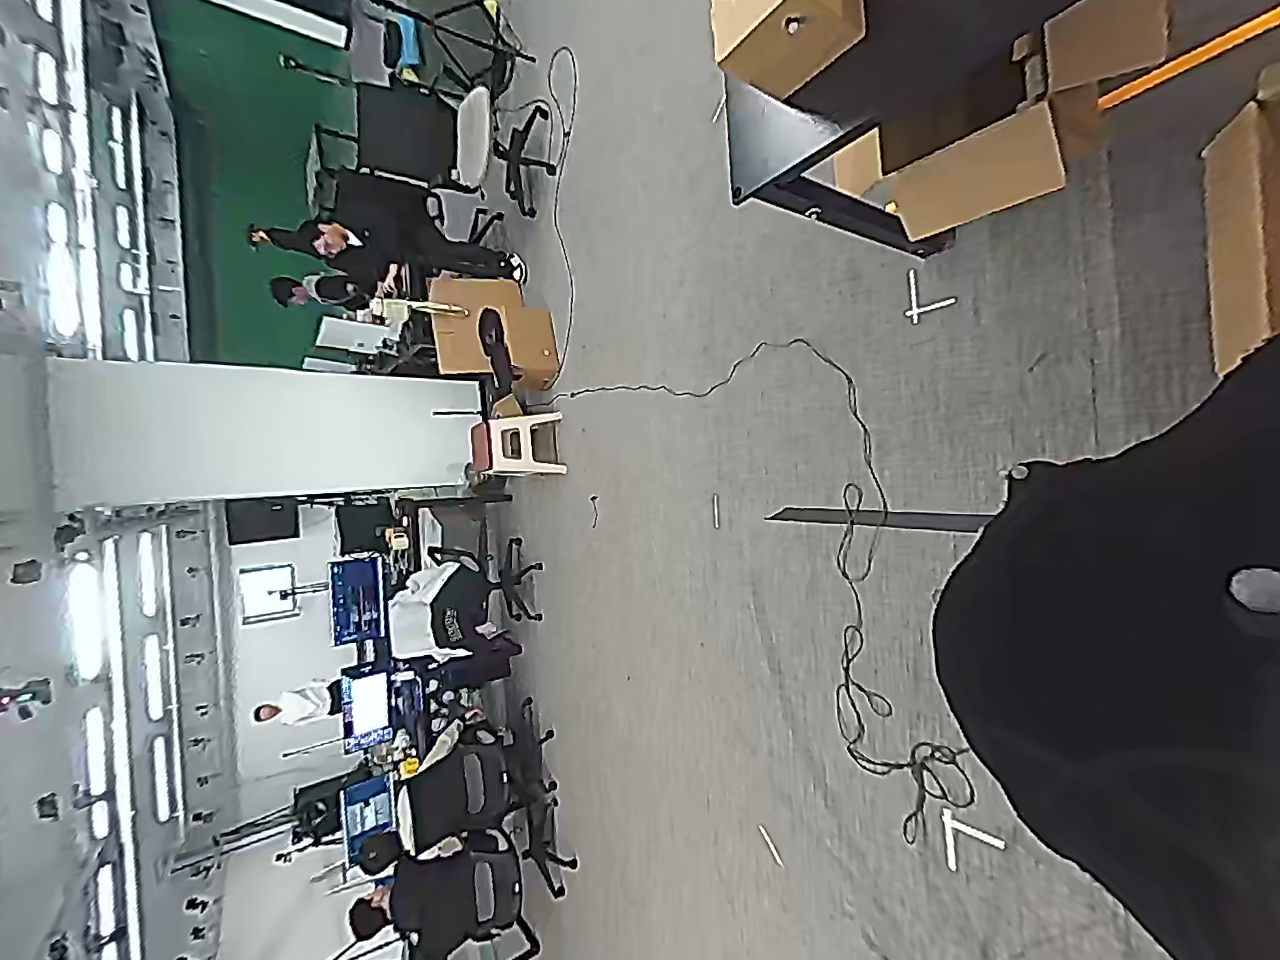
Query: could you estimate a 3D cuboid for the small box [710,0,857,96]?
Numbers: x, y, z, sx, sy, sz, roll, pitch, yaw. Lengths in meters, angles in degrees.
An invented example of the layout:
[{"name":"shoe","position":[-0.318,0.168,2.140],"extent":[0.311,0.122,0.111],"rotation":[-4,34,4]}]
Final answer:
[{"name":"small box","position":[0.235,-0.780,0.878],"extent":[0.179,0.176,0.168],"rotation":[-5,88,55]}]
